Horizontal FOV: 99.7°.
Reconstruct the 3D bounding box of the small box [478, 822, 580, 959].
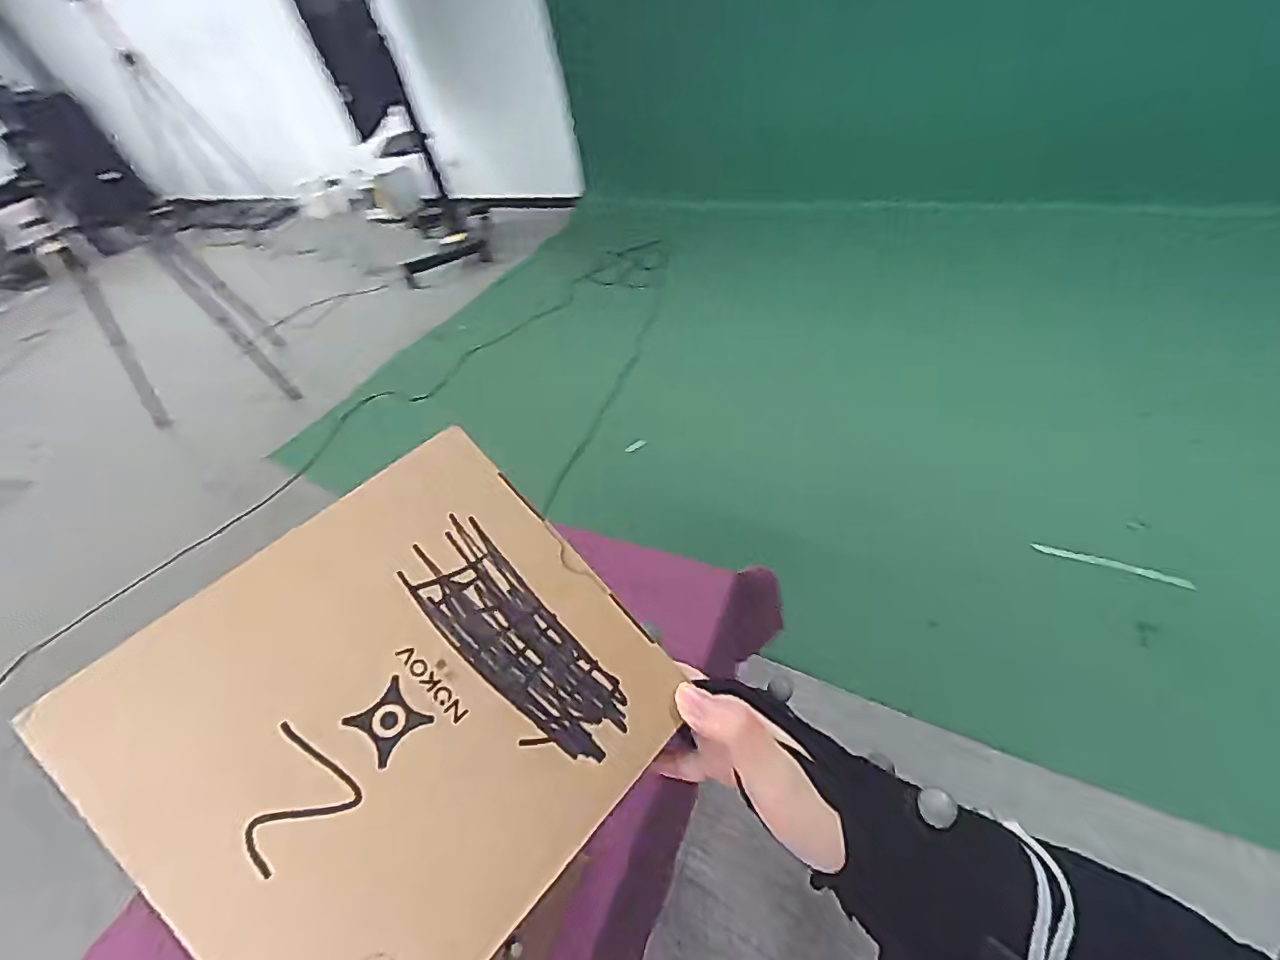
[{"bbox_3d":[-0.185,0.457,0.588,0.168,0.176,0.179,14,51,25],"label":"small box"}]
